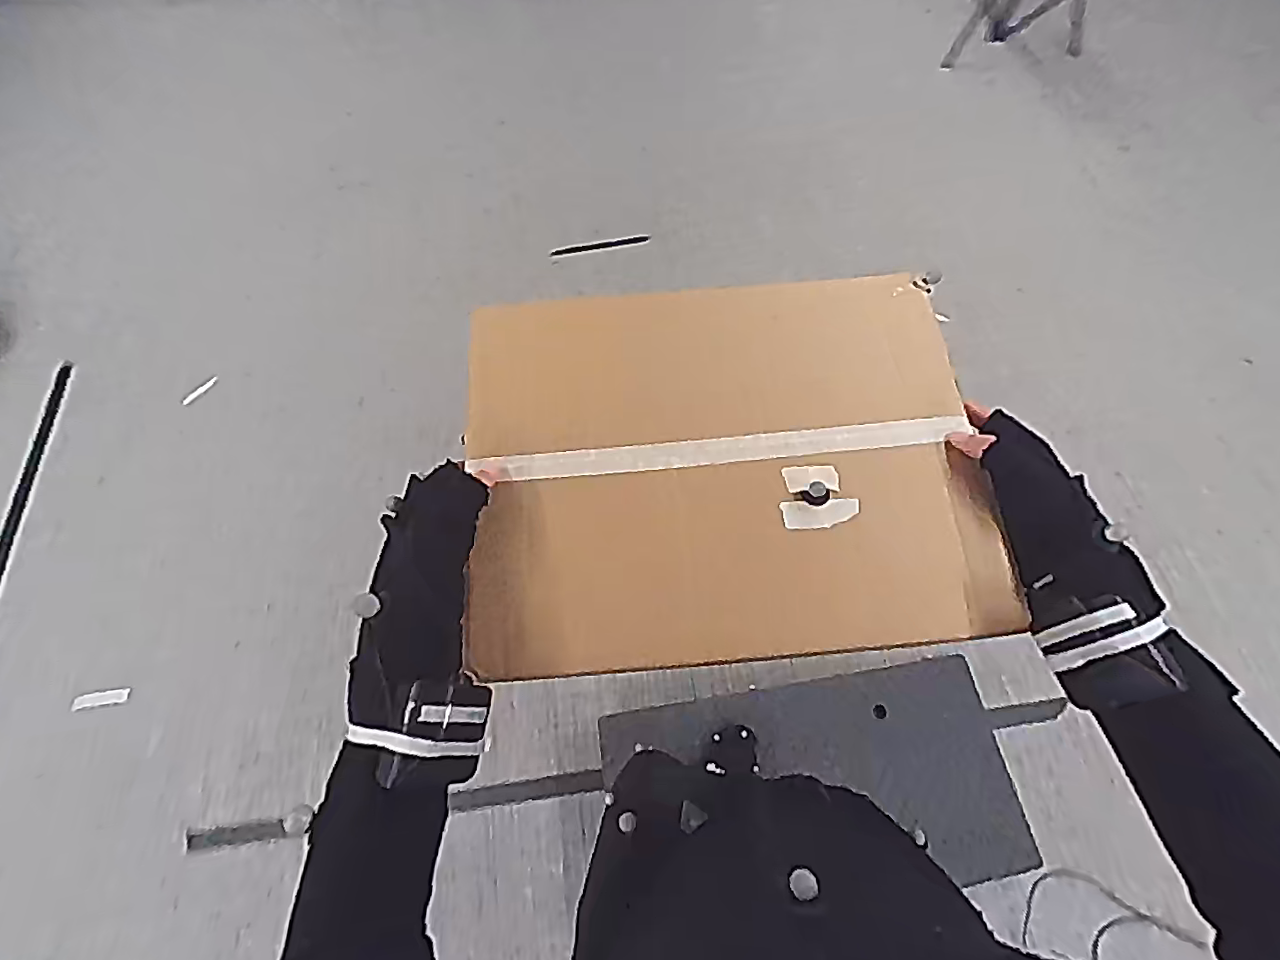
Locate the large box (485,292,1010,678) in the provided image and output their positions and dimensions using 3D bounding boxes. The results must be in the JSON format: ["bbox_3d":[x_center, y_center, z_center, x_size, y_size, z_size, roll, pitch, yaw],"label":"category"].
[{"bbox_3d":[0.070,0.034,0.590,0.408,0.320,0.320,-4,71,-1],"label":"large box"}]

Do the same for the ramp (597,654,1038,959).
[{"bbox_3d":[0.420,0.739,1.287,0.991,0.206,0.509,-11,65,-3],"label":"ramp"}]
